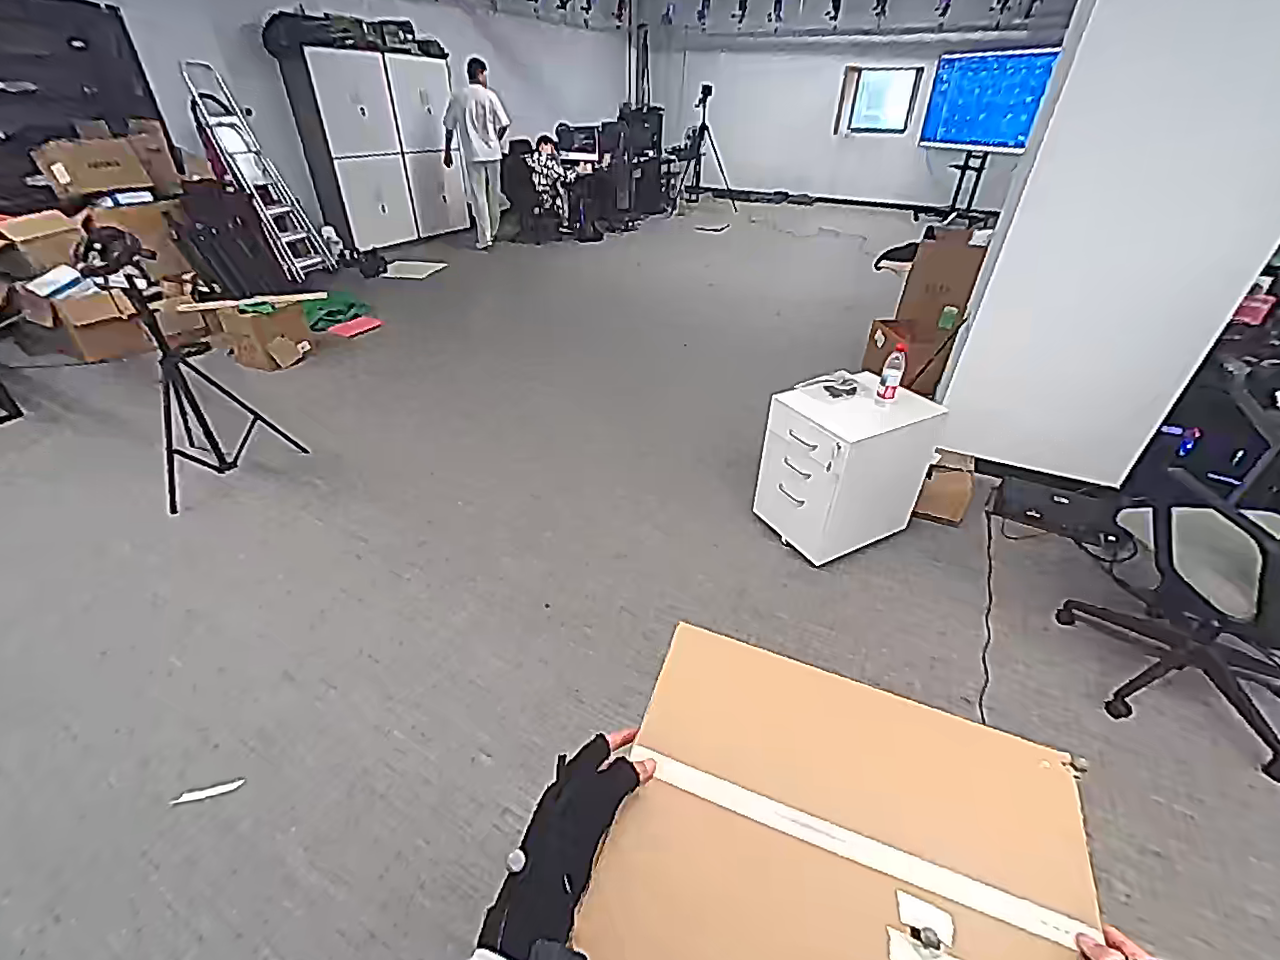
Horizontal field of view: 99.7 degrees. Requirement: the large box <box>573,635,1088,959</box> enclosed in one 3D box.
[{"bbox_3d":[0.175,0.435,0.594,0.408,0.320,0.320,16,48,14],"label":"large box"}]
